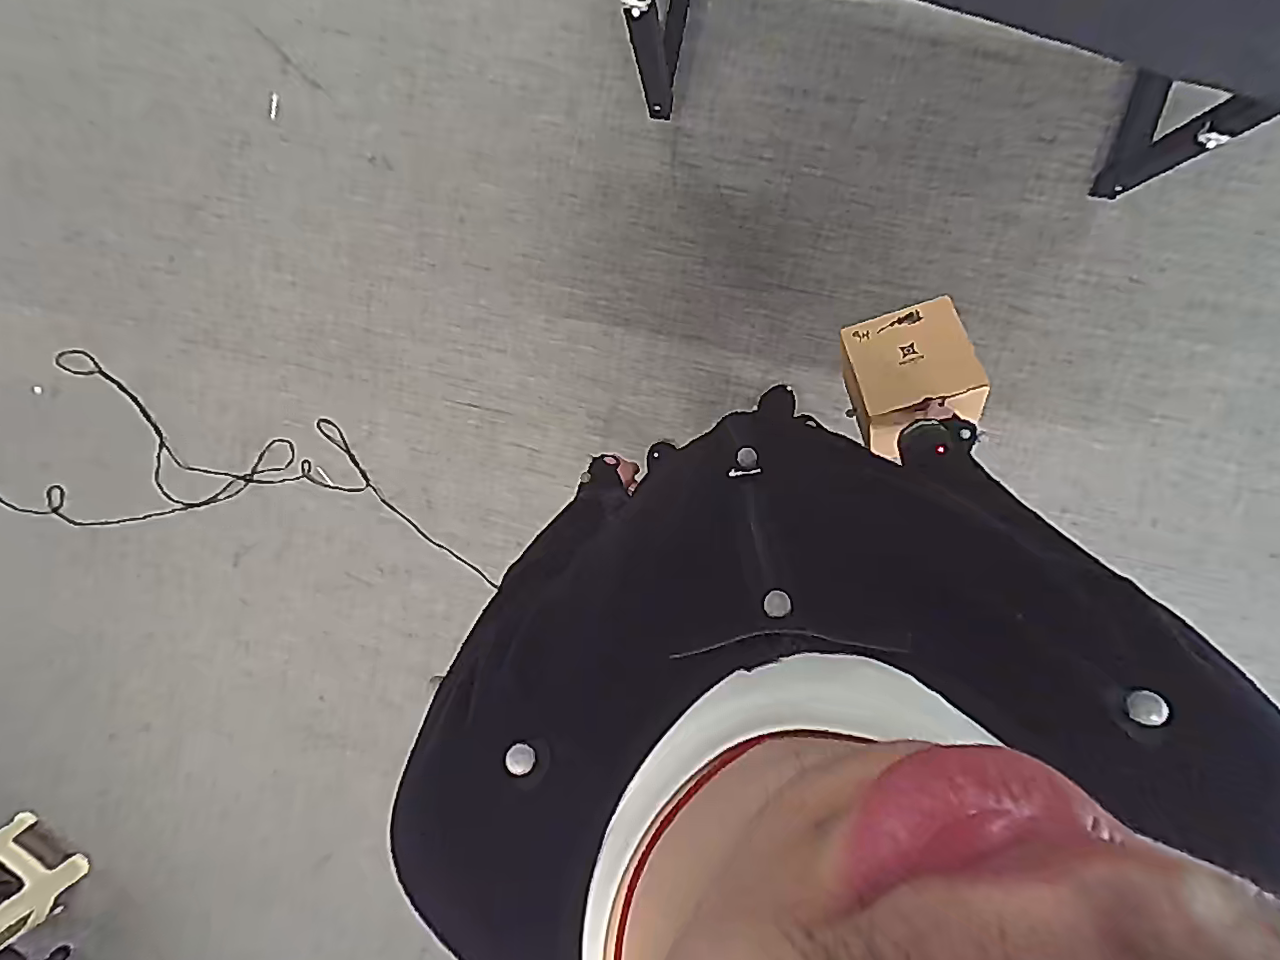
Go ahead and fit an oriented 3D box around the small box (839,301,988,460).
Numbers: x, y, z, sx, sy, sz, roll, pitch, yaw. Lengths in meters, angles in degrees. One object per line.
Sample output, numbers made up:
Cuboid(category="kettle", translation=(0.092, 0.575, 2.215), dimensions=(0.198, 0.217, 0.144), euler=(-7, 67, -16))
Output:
Cuboid(category="small box", translation=(0.447, -0.150, 0.895), dimensions=(0.168, 0.176, 0.179), euler=(-19, 59, 18))
